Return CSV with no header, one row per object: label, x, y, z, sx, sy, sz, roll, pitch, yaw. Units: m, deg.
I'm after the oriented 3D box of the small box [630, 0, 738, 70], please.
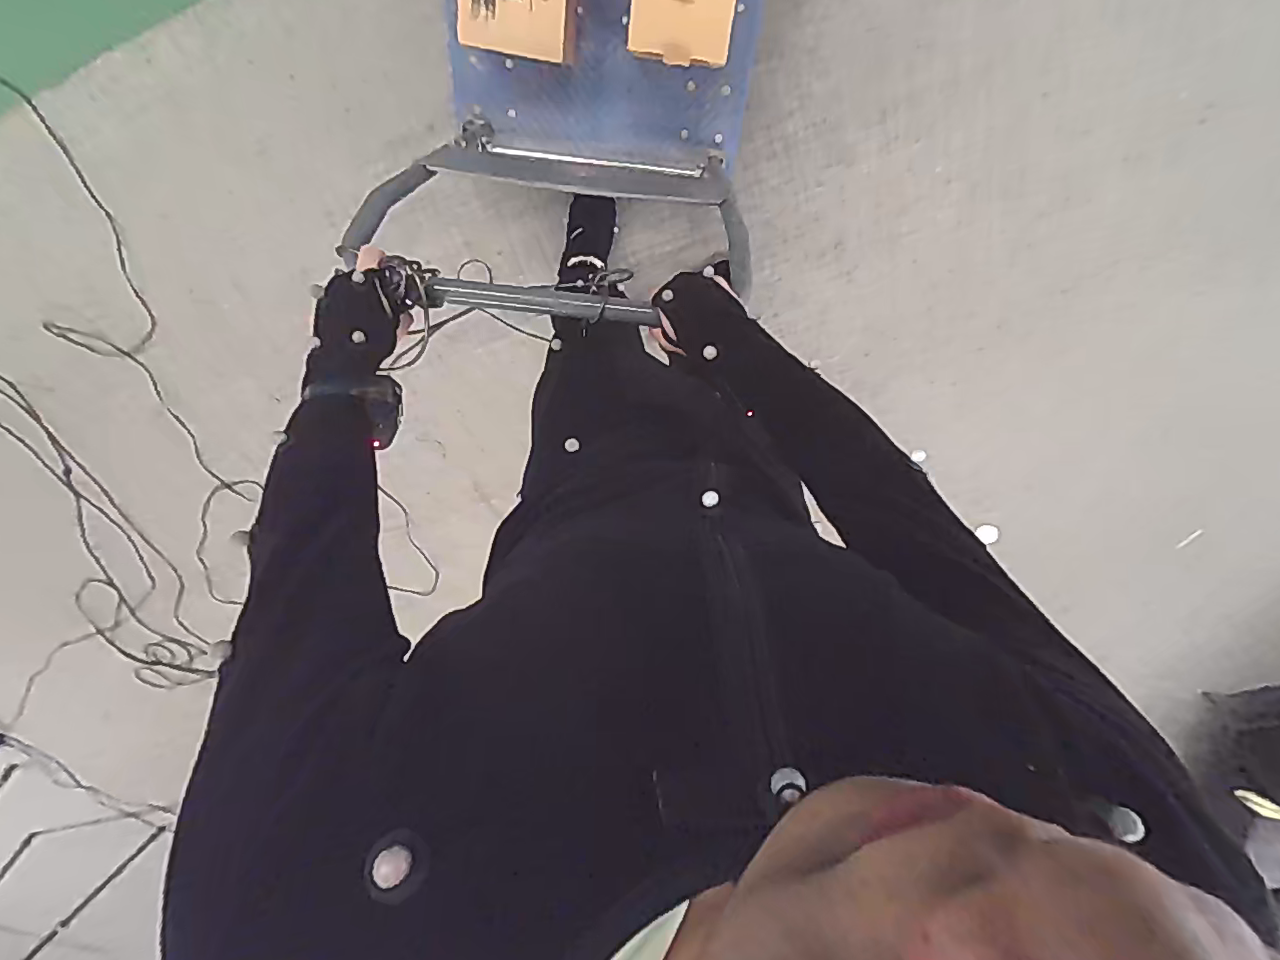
small box,0.076,-0.808,0.907,0.168,0.176,0.179,6,128,-2
